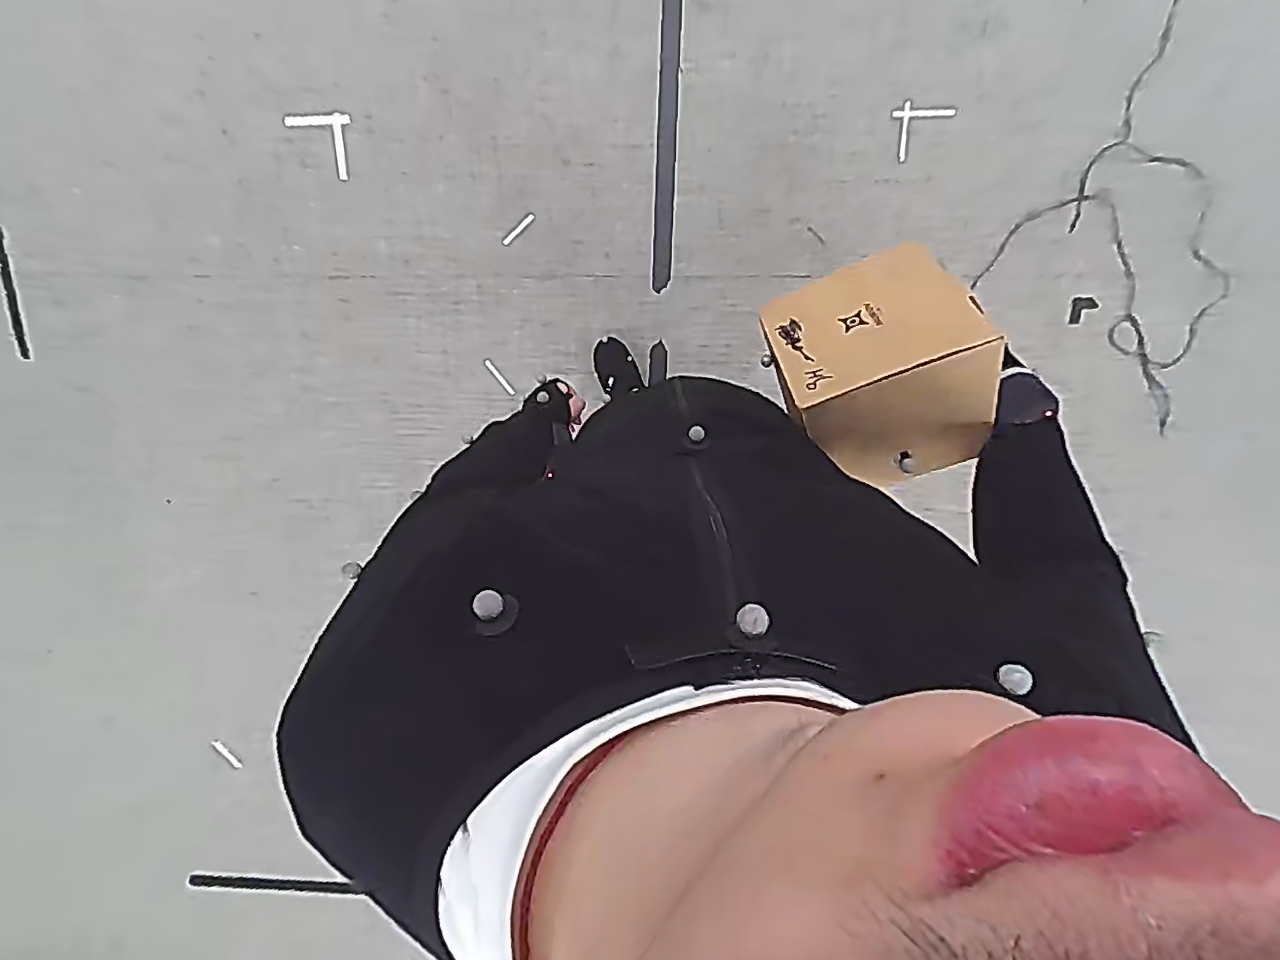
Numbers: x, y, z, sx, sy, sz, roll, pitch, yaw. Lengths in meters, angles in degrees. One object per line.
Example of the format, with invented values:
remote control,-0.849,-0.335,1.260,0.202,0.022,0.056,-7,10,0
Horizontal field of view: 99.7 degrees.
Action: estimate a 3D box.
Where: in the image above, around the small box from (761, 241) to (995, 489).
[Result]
small box,0.251,-0.117,0.594,0.179,0.168,0.176,-19,139,14
